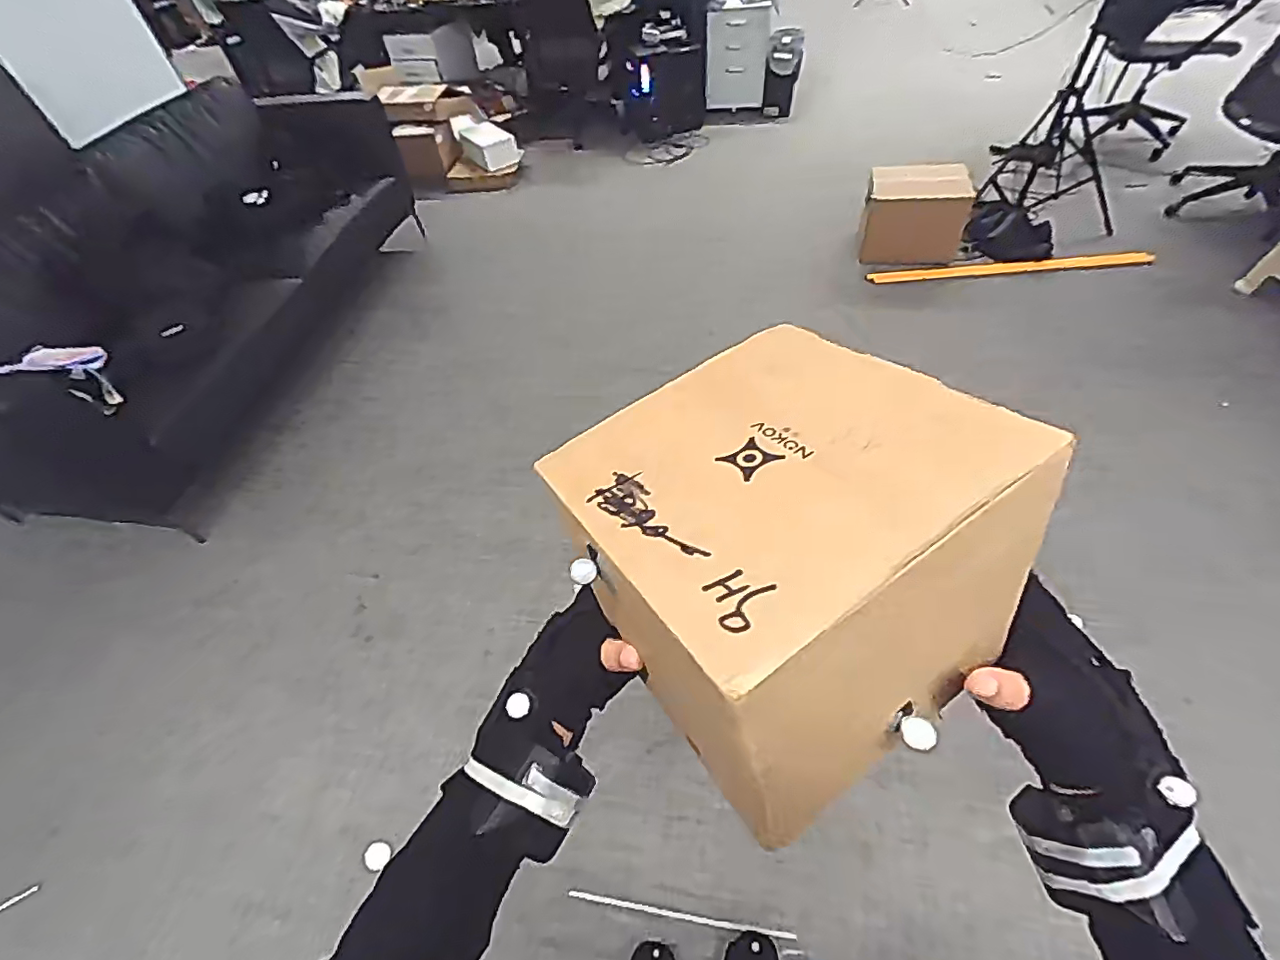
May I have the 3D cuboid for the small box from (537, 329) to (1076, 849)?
[{"bbox_3d":[0.074,0.048,0.293,0.179,0.176,0.168,-30,41,-16],"label":"small box"}]
